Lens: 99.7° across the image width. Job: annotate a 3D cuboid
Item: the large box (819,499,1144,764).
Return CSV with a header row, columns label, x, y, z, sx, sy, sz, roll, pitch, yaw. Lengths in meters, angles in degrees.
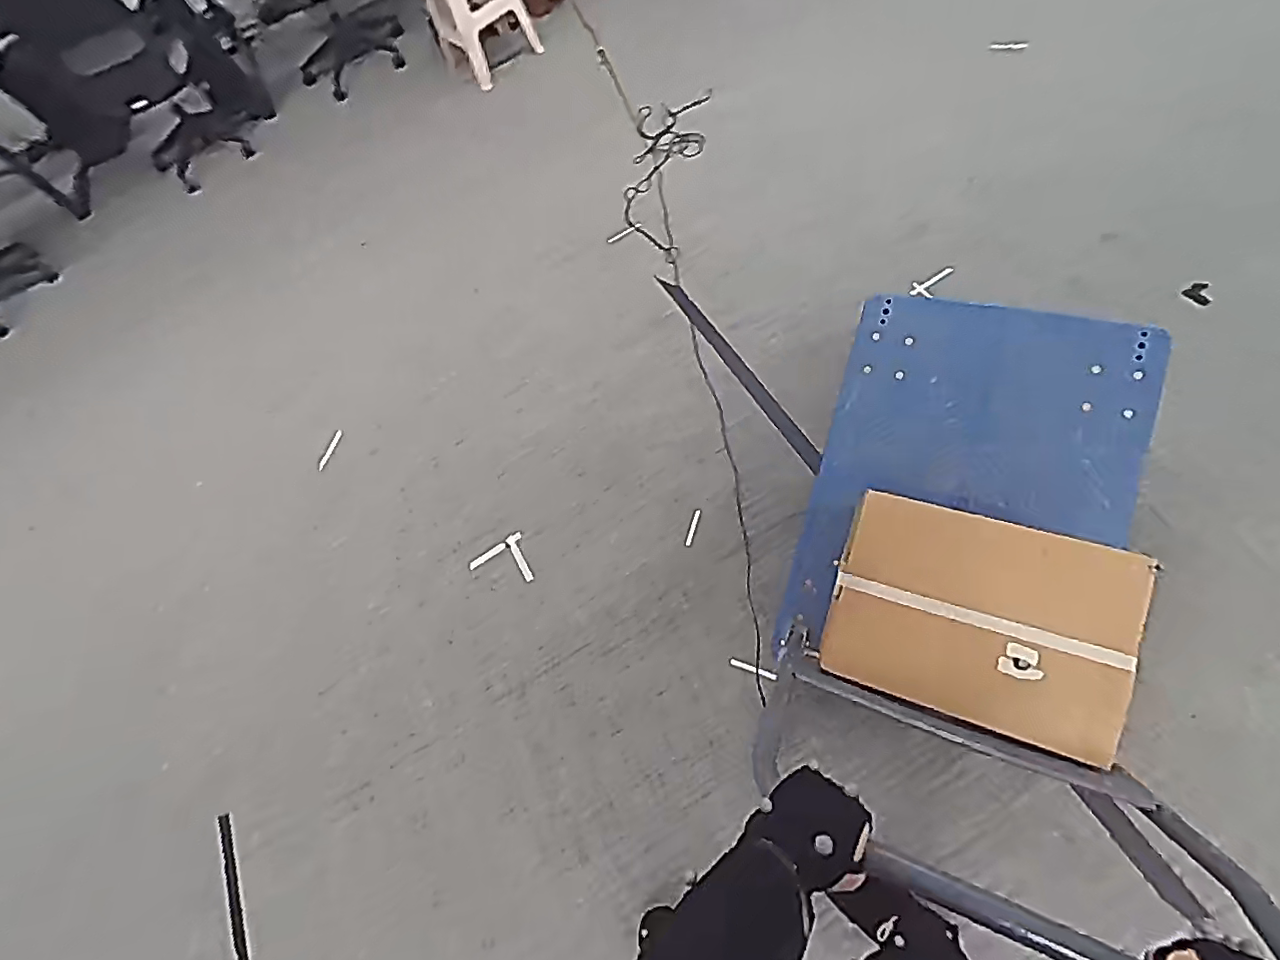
label,x,y,z,sx,sy,sz,roll,pitch,yaw
large box,0.569,0.243,0.993,0.408,0.320,0.320,15,87,19
